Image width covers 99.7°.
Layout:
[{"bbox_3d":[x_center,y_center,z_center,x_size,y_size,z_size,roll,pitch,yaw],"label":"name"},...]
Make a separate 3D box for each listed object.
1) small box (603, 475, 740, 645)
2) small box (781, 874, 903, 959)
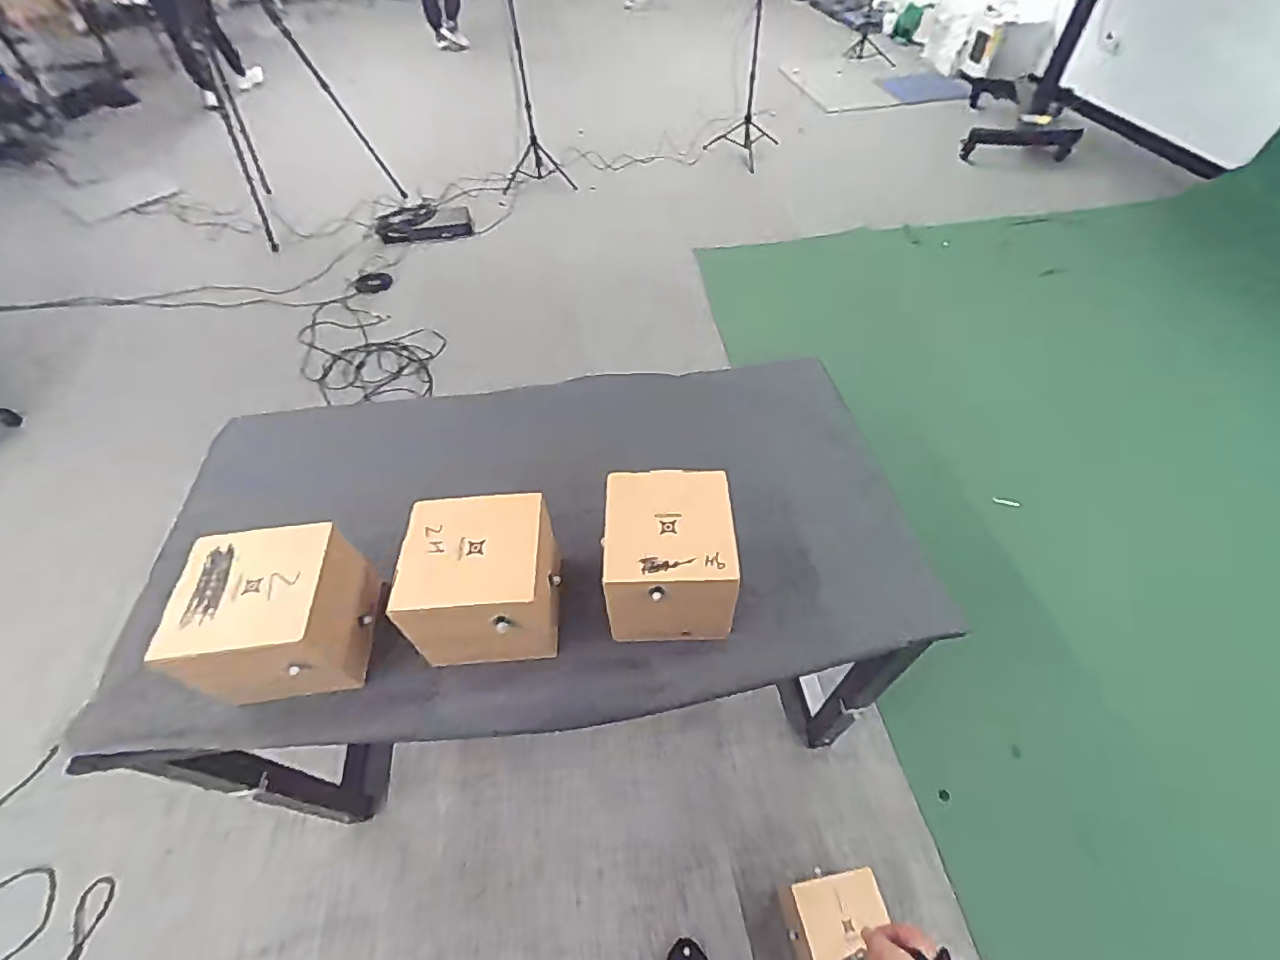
[{"bbox_3d":[0.041,0.111,0.753,0.168,0.176,0.179,-1,49,2],"label":"small box"},{"bbox_3d":[0.388,0.889,1.049,0.168,0.176,0.179,-9,51,-4],"label":"small box"}]
